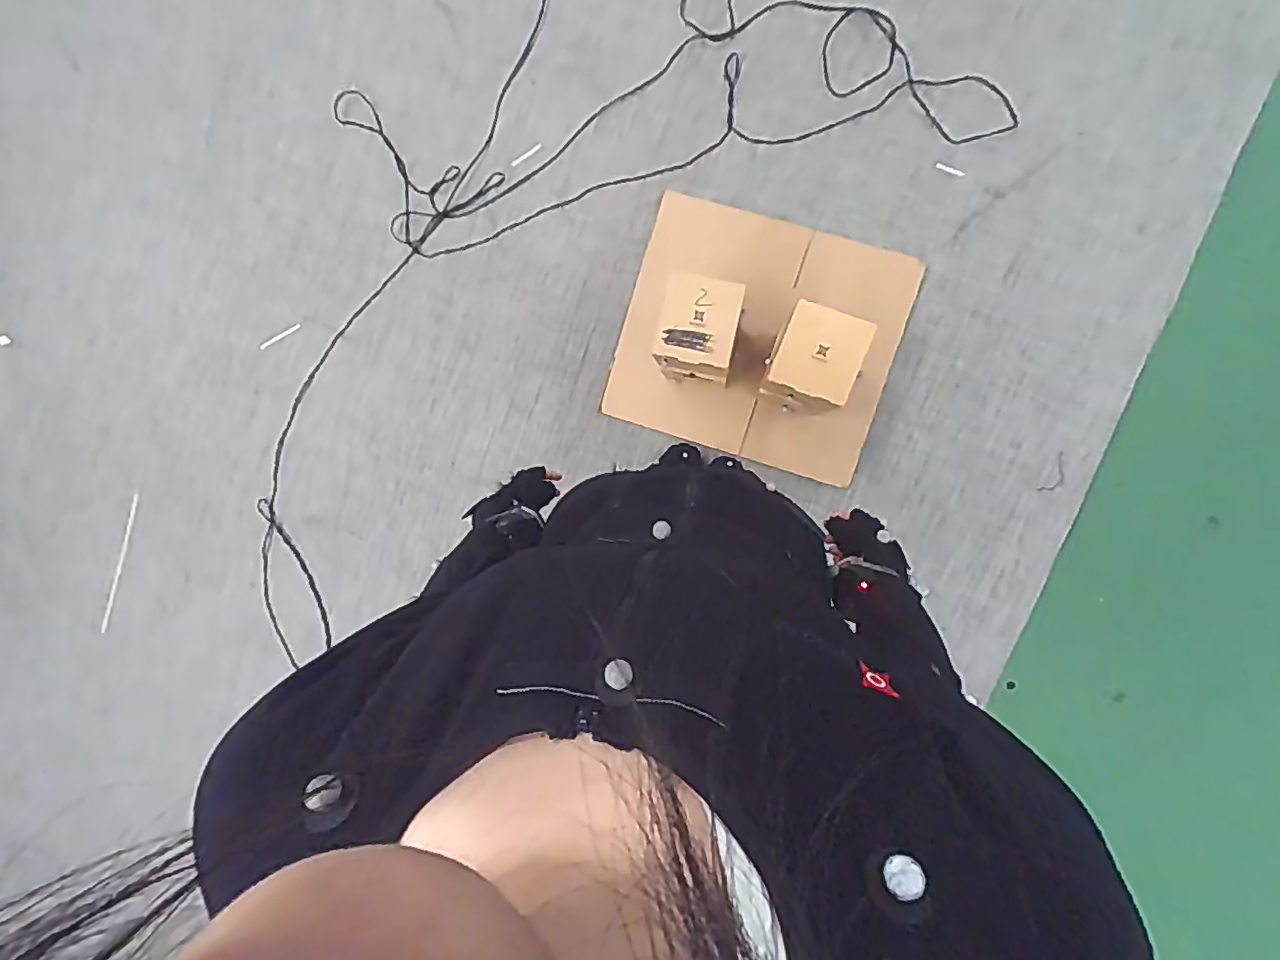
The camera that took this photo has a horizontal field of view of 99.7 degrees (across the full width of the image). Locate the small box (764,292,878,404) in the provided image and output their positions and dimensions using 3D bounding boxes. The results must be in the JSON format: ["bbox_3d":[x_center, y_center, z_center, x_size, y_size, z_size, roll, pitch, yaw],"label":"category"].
[{"bbox_3d":[0.377,-0.274,1.162,0.168,0.176,0.179,21,98,6],"label":"small box"}]

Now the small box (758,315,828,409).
[{"bbox_3d":[0.394,-0.281,1.324,0.168,0.176,0.179,18,97,7],"label":"small box"}]

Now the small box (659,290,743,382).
[{"bbox_3d":[0.154,-0.349,1.346,0.168,0.176,0.179,14,96,6],"label":"small box"}]
